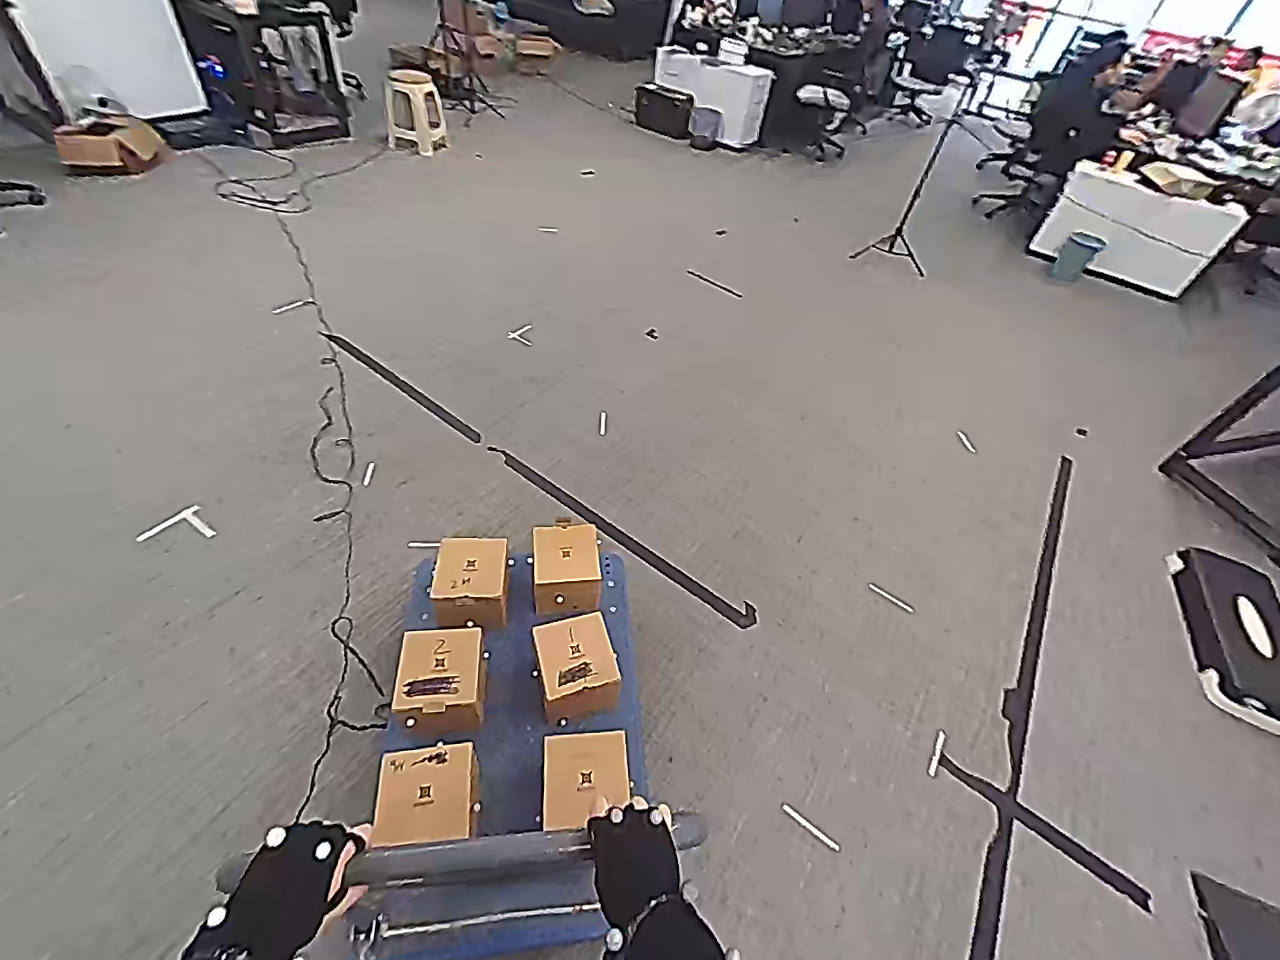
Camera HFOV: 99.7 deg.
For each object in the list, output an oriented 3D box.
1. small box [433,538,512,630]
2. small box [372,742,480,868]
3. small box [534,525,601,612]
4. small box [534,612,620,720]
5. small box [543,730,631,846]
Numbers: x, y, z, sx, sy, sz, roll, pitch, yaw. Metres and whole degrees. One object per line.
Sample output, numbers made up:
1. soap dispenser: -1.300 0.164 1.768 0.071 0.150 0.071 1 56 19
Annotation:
1. small box: -0.422 0.268 1.389 0.168 0.176 0.179 1 48 -8
2. small box: -0.404 0.636 1.053 0.168 0.176 0.179 -2 49 -12
3. small box: -0.197 0.242 1.452 0.168 0.176 0.179 -2 48 -11
4. small box: -0.152 0.443 1.274 0.168 0.176 0.179 -9 49 -17
5. small box: -0.111 0.634 1.106 0.168 0.176 0.179 2 47 -9
